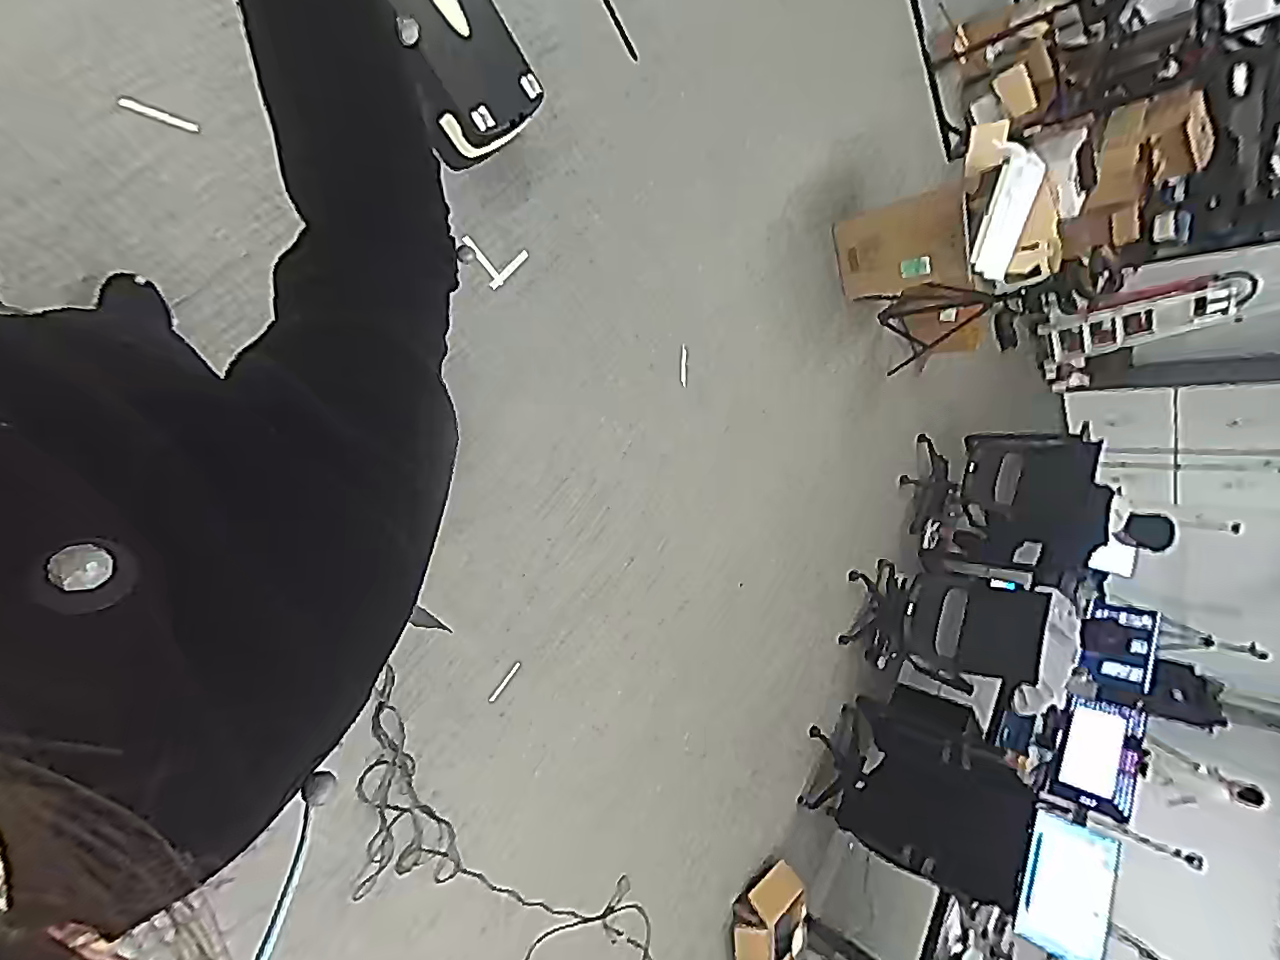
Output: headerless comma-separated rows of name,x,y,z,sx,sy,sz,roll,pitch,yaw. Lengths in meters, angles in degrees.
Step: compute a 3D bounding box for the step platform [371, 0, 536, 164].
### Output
step platform,-0.552,-1.180,1.308,0.286,0.204,0.684,-48,121,-28
